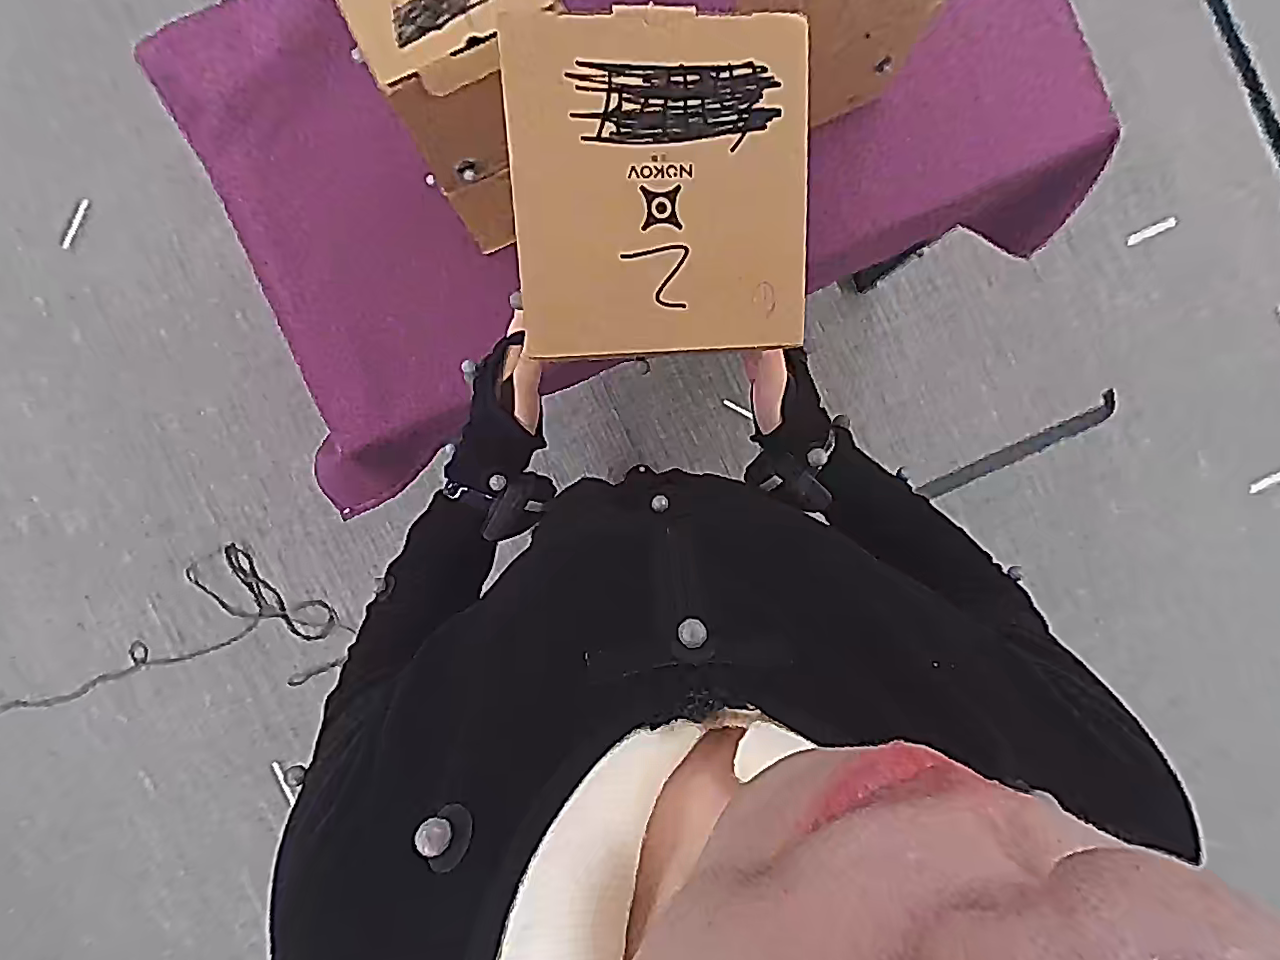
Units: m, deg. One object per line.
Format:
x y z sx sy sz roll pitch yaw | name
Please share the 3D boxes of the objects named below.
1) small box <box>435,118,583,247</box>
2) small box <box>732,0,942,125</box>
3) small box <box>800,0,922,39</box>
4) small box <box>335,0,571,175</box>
-0.182 -0.431 0.678 0.168 0.176 0.179 -26 93 -2 | small box
0.236 -0.595 0.687 0.168 0.176 0.179 -25 92 -2 | small box
0.243 -0.589 0.524 0.179 0.176 0.168 -26 93 -2 | small box
-0.176 -0.428 0.513 0.168 0.176 0.179 -27 92 -2 | small box
